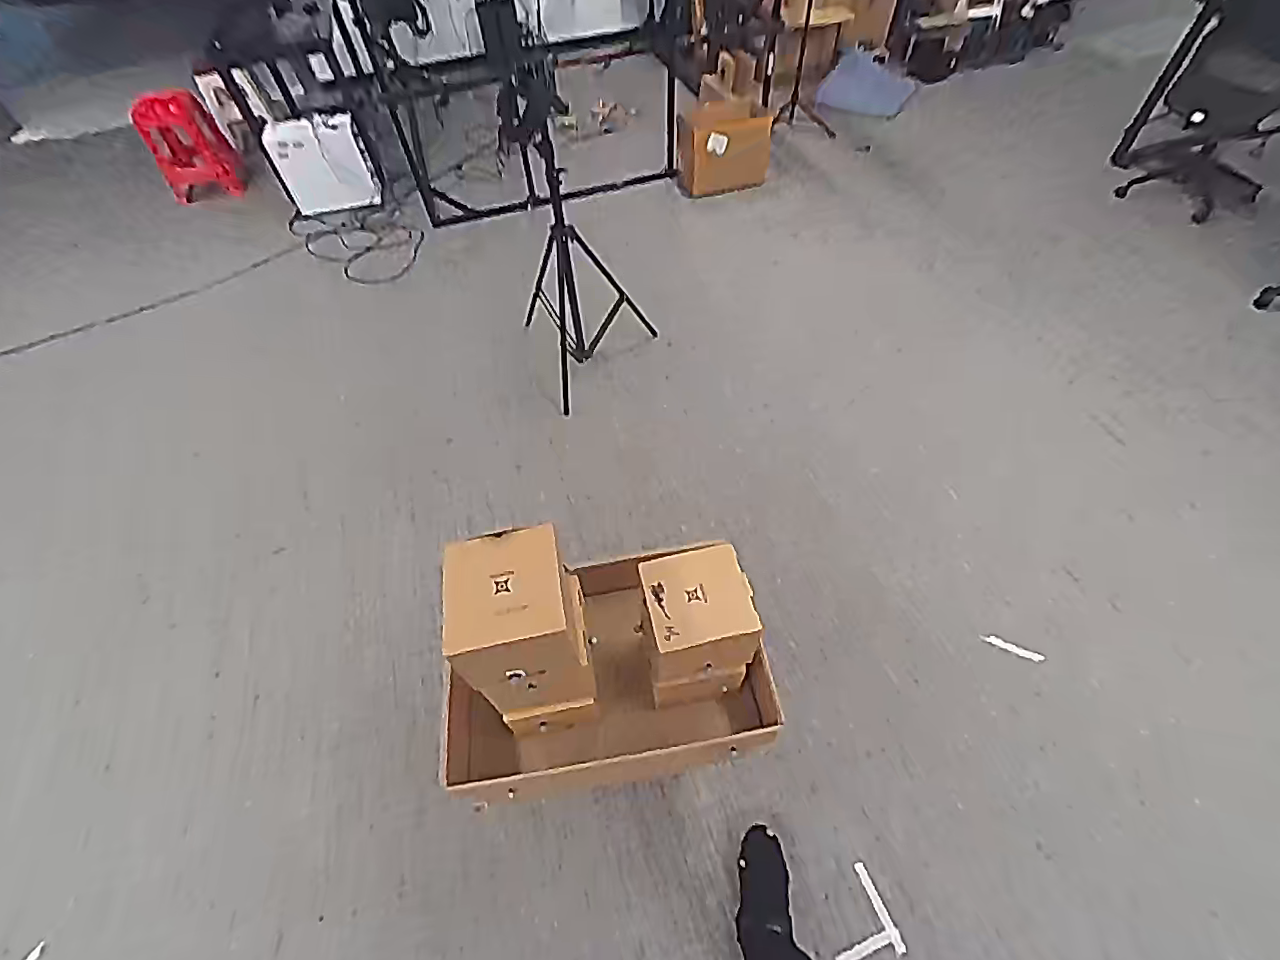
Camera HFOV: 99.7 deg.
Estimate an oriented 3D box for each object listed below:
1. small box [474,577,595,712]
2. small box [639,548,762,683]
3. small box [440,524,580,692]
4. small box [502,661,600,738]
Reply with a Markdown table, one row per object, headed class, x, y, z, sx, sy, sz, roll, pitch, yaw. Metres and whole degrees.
| class | x | y | z | sx | sy | sz | roll | pitch | yaw |
| --- | --- | --- | --- | --- | --- | --- | --- | --- | --- |
| small box | -0.180 | 0.293 | 0.949 | 0.179 | 0.176 | 0.168 | -8 | 53 | -5 |
| small box | 0.099 | 0.245 | 0.966 | 0.179 | 0.176 | 0.168 | -11 | 54 | -5 |
| small box | -0.191 | 0.195 | 0.817 | 0.168 | 0.176 | 0.179 | -11 | 53 | -5 |
| small box | -0.176 | 0.398 | 1.075 | 0.168 | 0.176 | 0.179 | -10 | 53 | -6 |
